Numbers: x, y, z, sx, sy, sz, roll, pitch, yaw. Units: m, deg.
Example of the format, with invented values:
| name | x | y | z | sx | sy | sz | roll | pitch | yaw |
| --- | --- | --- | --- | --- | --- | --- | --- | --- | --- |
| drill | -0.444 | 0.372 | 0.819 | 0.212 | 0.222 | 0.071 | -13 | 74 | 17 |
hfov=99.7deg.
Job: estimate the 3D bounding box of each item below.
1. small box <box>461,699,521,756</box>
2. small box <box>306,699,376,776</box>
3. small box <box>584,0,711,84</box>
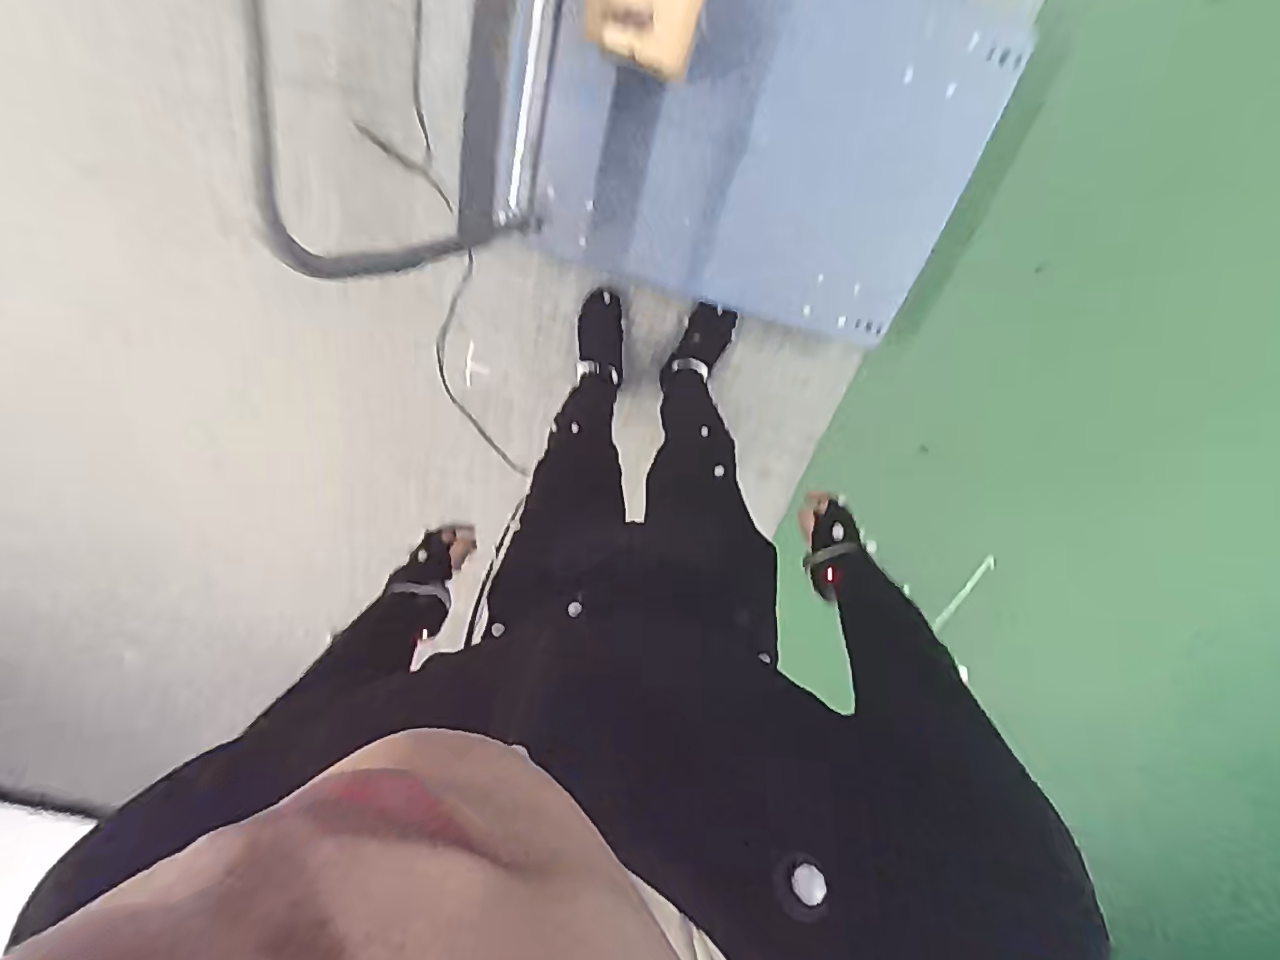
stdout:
| name | x | y | z | sx | sy | sz | roll | pitch | yaw |
| --- | --- | --- | --- | --- | --- | --- | --- | --- | --- |
| small box | -0.599 | 1.020 | 2.192 | 0.179 | 0.176 | 0.168 | 20 | 120 | -7 |
| small box | -1.106 | 0.955 | 2.008 | 0.168 | 0.176 | 0.179 | 21 | 120 | -7 |
| small box | 0.024 | -0.761 | 0.856 | 0.168 | 0.176 | 0.179 | 18 | 120 | -6 |
